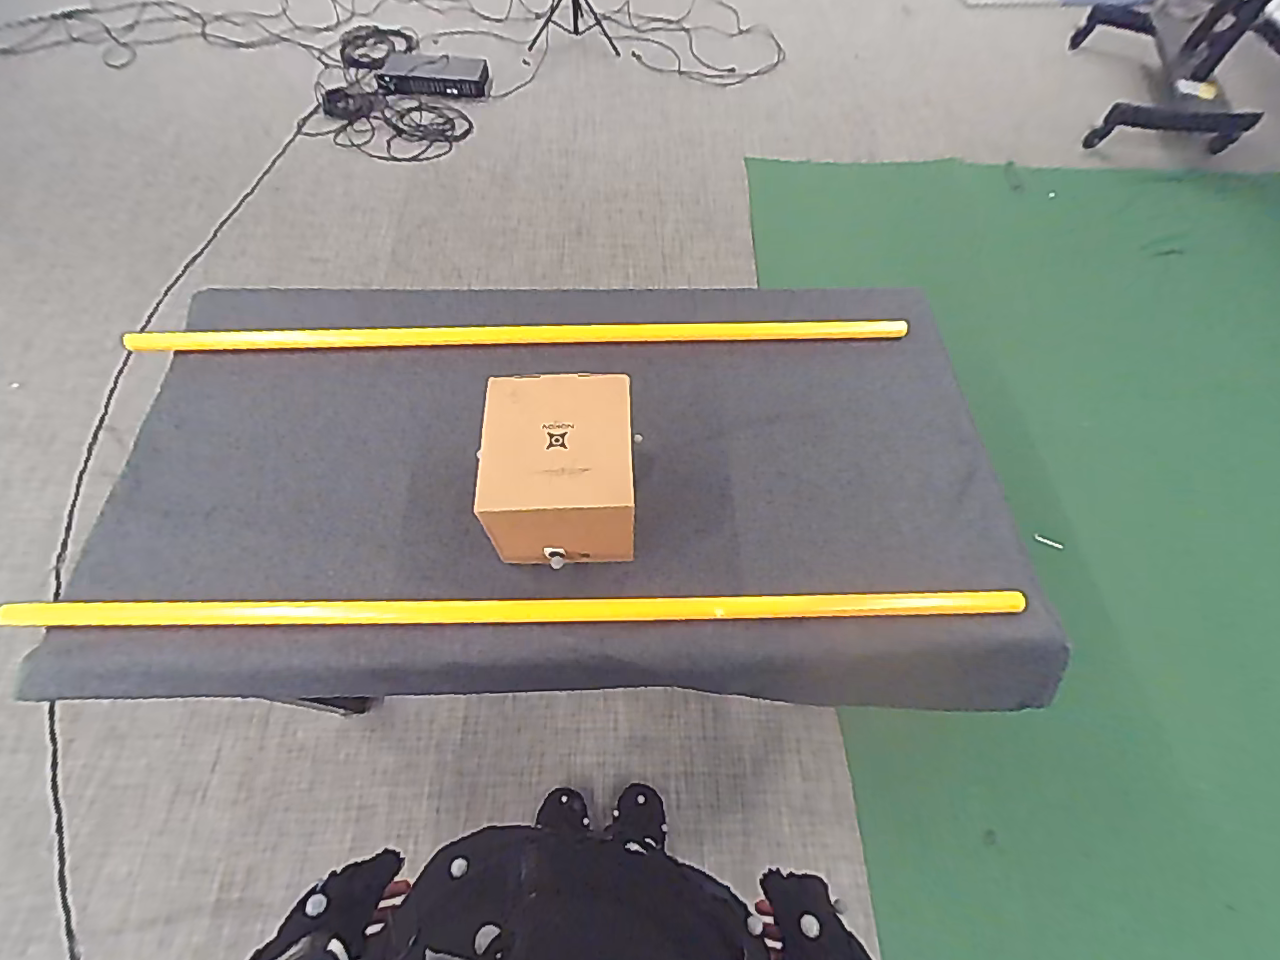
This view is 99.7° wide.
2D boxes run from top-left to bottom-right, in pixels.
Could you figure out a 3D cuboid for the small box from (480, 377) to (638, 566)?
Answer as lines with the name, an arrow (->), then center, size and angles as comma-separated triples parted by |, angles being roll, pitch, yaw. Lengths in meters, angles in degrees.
small box -> -0.089, -0.006, 0.669 | 0.168, 0.176, 0.179 | -3, 62, -2
